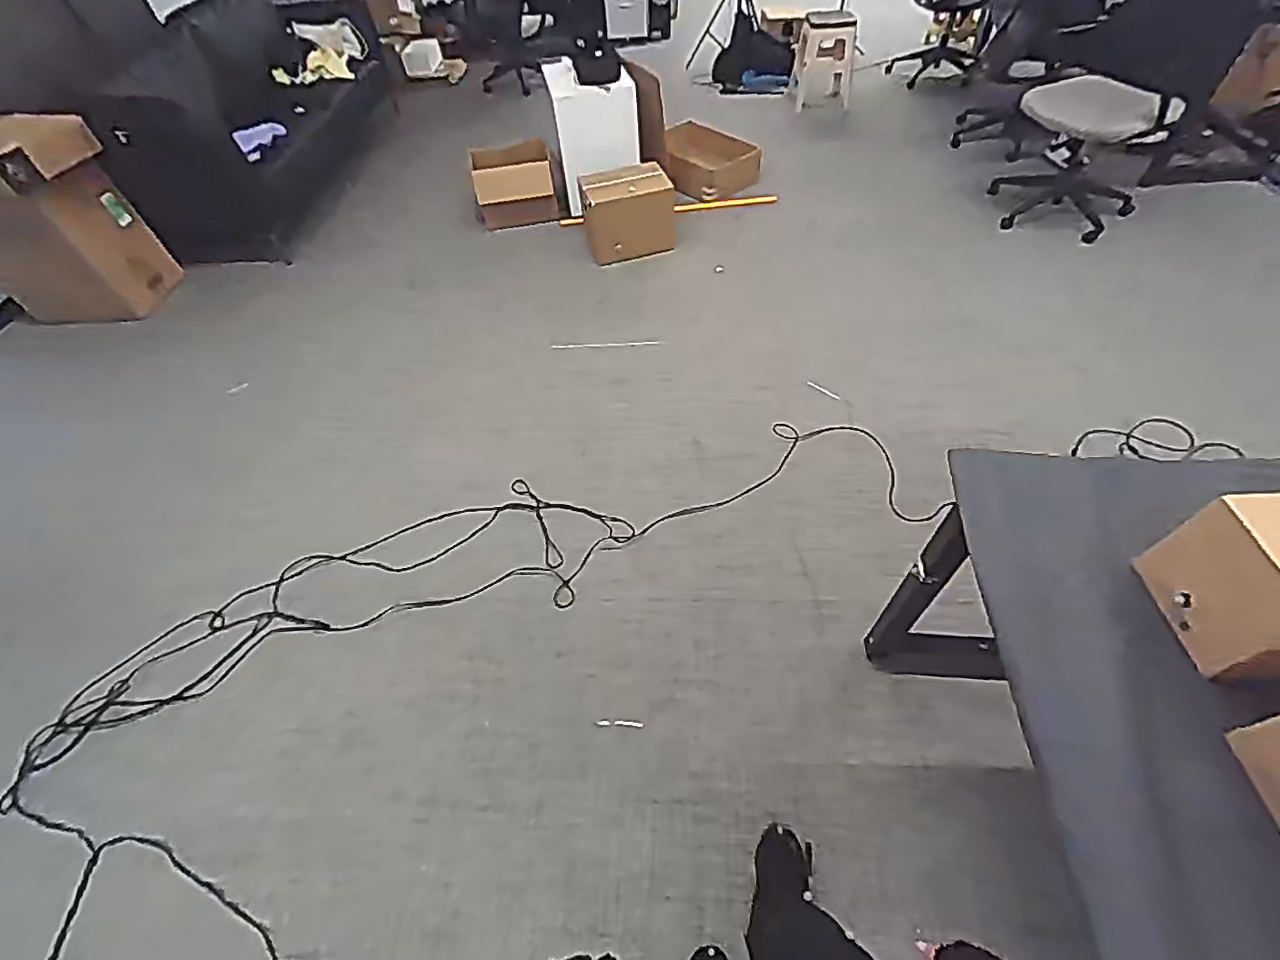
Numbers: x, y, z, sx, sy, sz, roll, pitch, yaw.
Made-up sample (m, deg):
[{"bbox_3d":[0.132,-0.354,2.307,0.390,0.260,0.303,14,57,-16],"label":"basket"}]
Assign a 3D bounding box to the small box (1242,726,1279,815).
[{"bbox_3d":[0.759,0.306,0.503,0.179,0.176,0.168,-1,52,4],"label":"small box"}]
